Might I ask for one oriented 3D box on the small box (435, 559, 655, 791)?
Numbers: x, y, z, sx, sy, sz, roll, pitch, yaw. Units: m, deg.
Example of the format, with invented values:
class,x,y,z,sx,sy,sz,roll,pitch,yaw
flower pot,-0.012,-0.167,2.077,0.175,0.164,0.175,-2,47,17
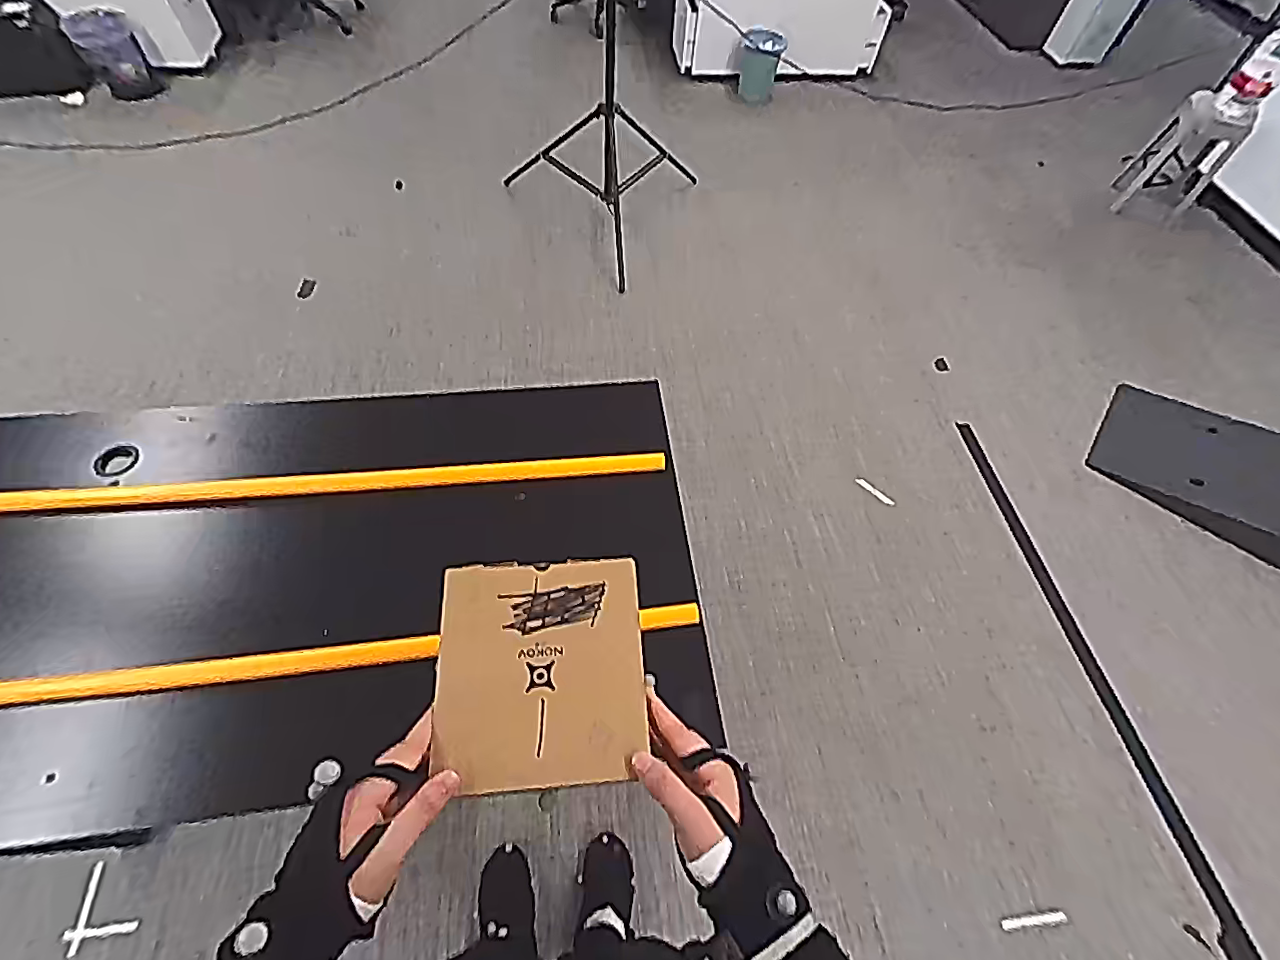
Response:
class,x,y,z,sx,sy,sz,roll,pitch,yaw
small box,-0.080,0.188,0.511,0.168,0.176,0.179,-2,60,-5
